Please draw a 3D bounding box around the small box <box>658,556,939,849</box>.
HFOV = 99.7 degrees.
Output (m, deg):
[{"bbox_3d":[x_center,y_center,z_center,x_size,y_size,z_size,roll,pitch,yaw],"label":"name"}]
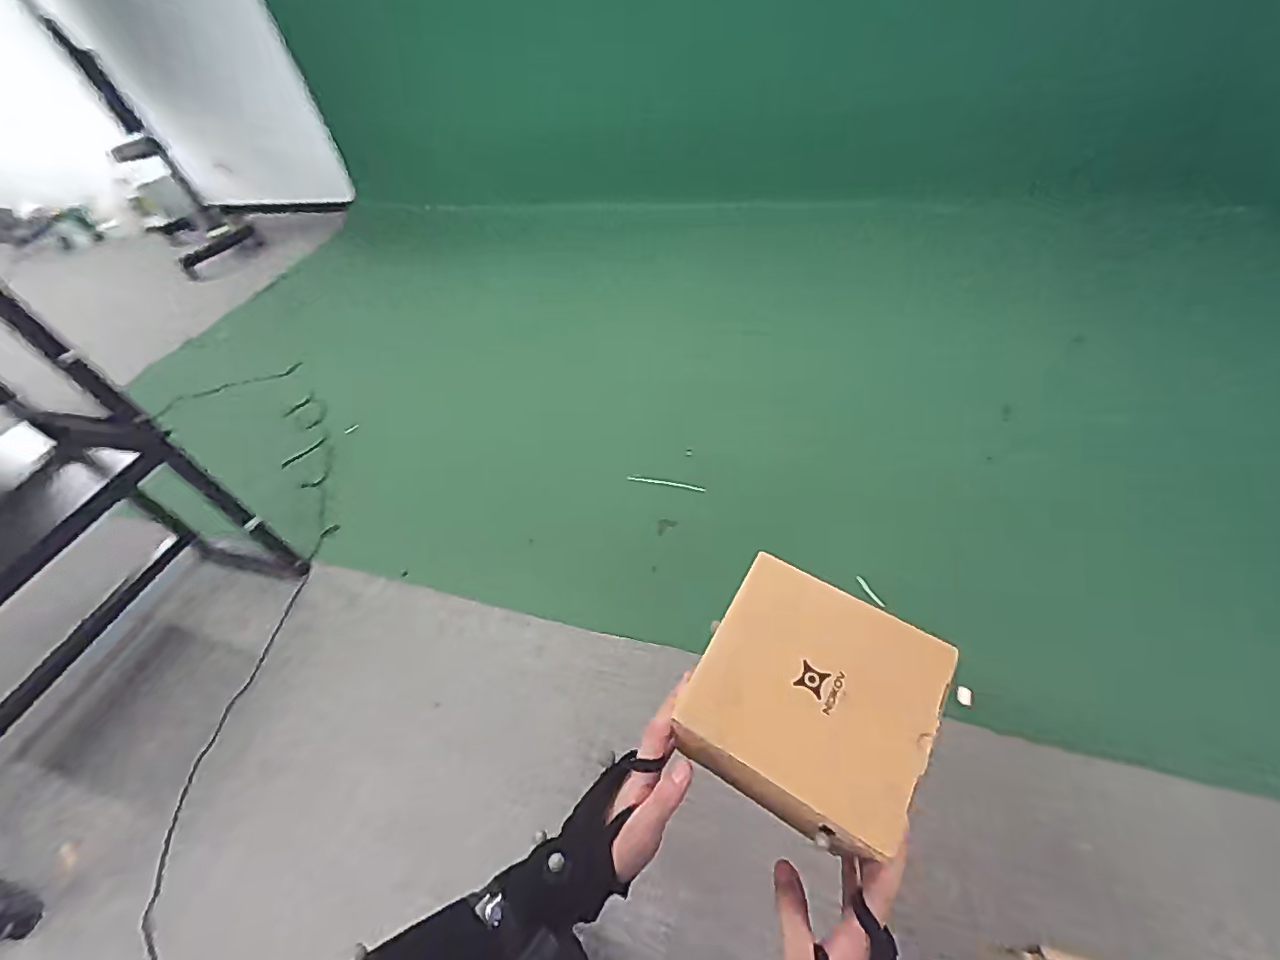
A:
[{"bbox_3d":[0.132,0.205,0.494,0.179,0.176,0.168,25,62,19],"label":"small box"}]
